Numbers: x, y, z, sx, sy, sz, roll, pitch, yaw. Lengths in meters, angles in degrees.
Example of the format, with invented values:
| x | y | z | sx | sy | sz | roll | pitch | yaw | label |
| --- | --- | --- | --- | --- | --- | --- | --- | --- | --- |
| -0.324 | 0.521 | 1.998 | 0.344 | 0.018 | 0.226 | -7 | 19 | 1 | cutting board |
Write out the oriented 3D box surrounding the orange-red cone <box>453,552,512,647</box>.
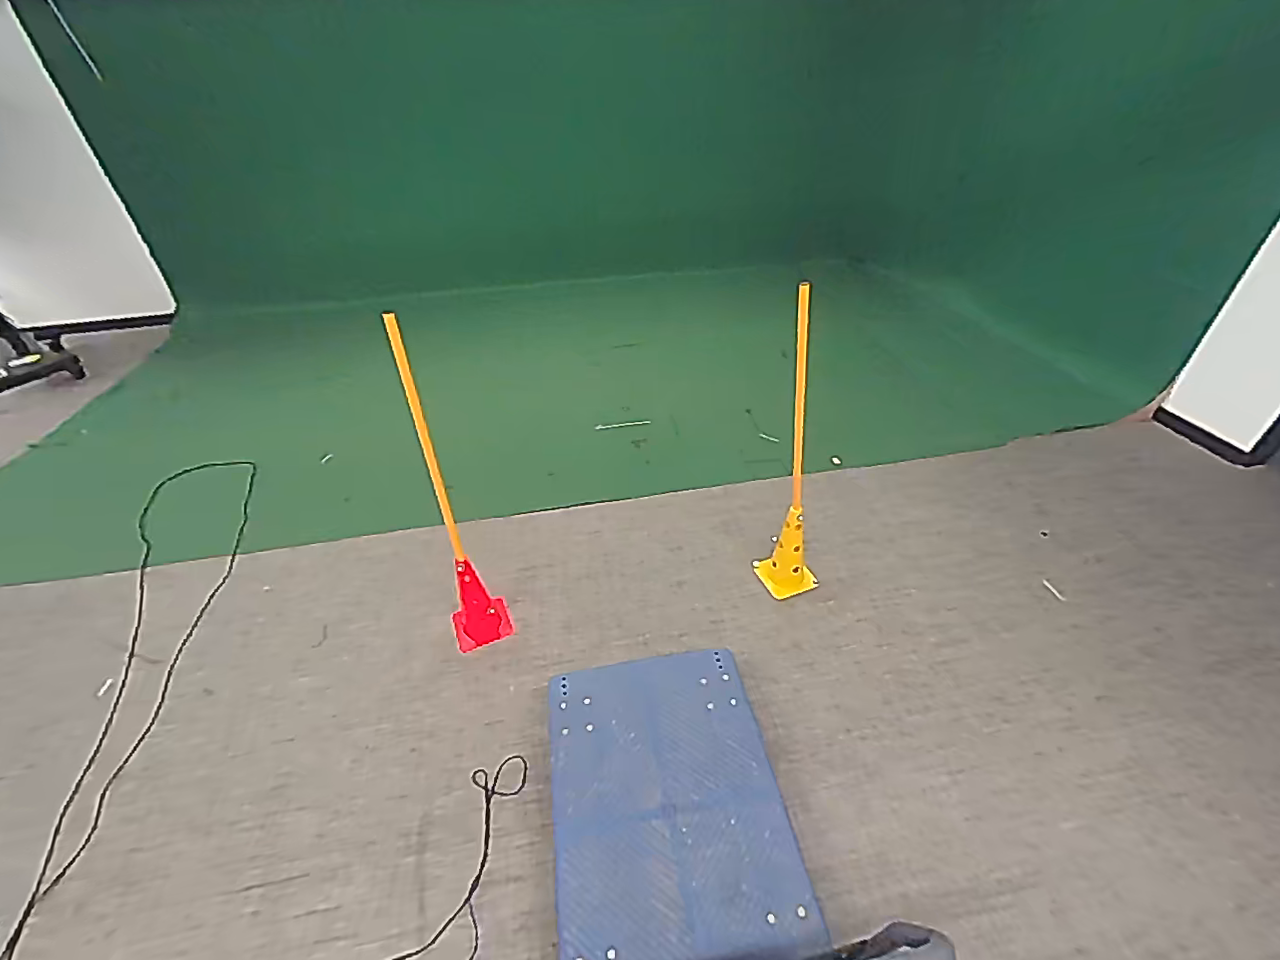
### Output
| x | y | z | sx | sy | sz | roll | pitch | yaw | label |
| --- | --- | --- | --- | --- | --- | --- | --- | --- | --- |
| -0.598 | 0.392 | 1.913 | 0.199 | 0.360 | 0.198 | -18 | 41 | -17 | orange-red cone |
